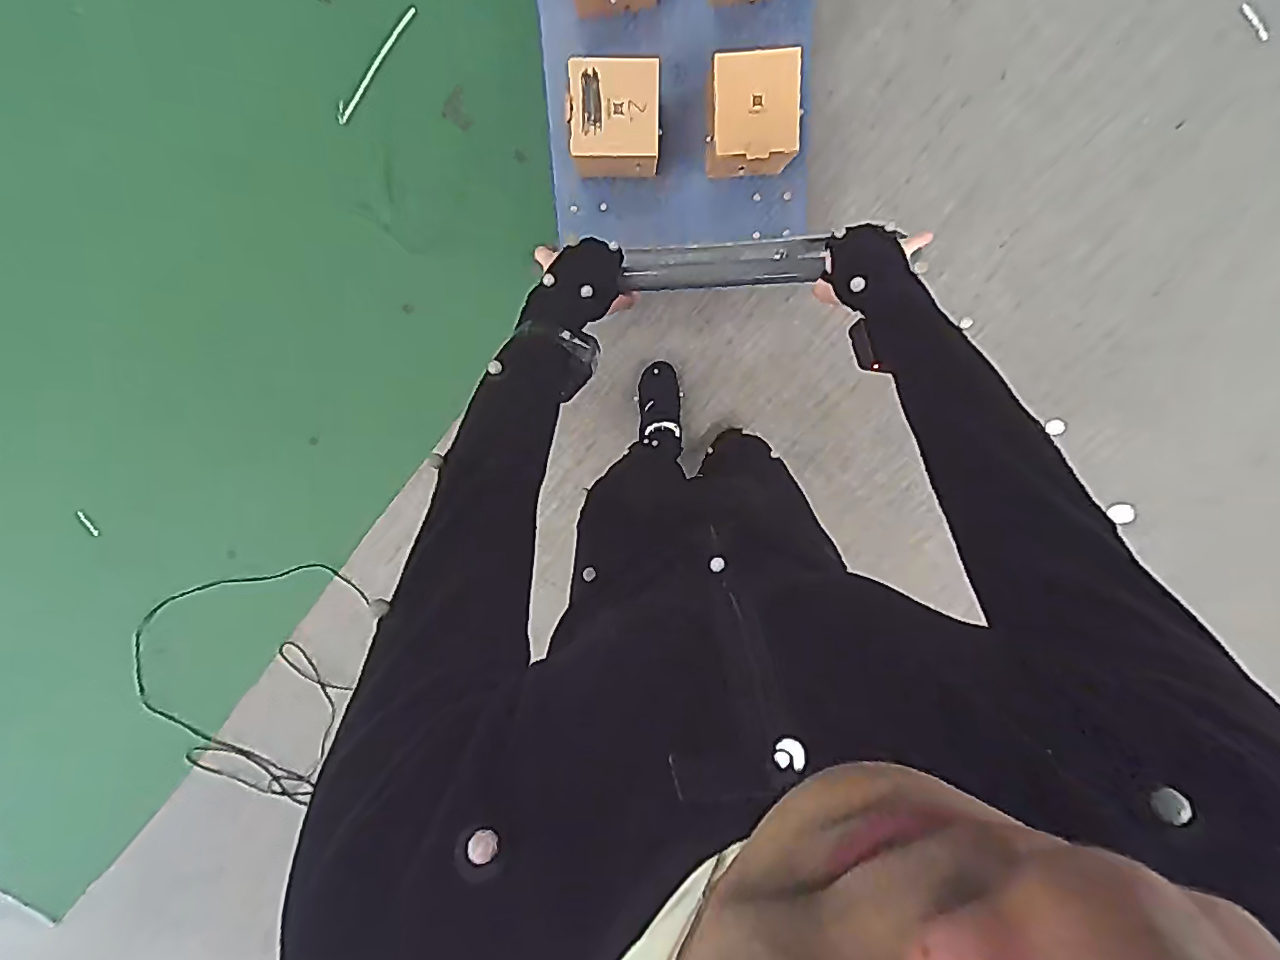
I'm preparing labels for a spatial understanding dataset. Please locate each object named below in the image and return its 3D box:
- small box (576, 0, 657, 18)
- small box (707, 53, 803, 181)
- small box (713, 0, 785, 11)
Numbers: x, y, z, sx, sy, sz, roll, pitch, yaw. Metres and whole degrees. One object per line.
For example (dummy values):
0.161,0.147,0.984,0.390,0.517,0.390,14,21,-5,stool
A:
-0.054,-1.021,1.028,0.168,0.176,0.179,-7,107,1,small box
0.230,-0.739,1.116,0.168,0.176,0.179,-3,107,1,small box
0.221,-1.043,1.022,0.168,0.176,0.179,-7,108,3,small box
